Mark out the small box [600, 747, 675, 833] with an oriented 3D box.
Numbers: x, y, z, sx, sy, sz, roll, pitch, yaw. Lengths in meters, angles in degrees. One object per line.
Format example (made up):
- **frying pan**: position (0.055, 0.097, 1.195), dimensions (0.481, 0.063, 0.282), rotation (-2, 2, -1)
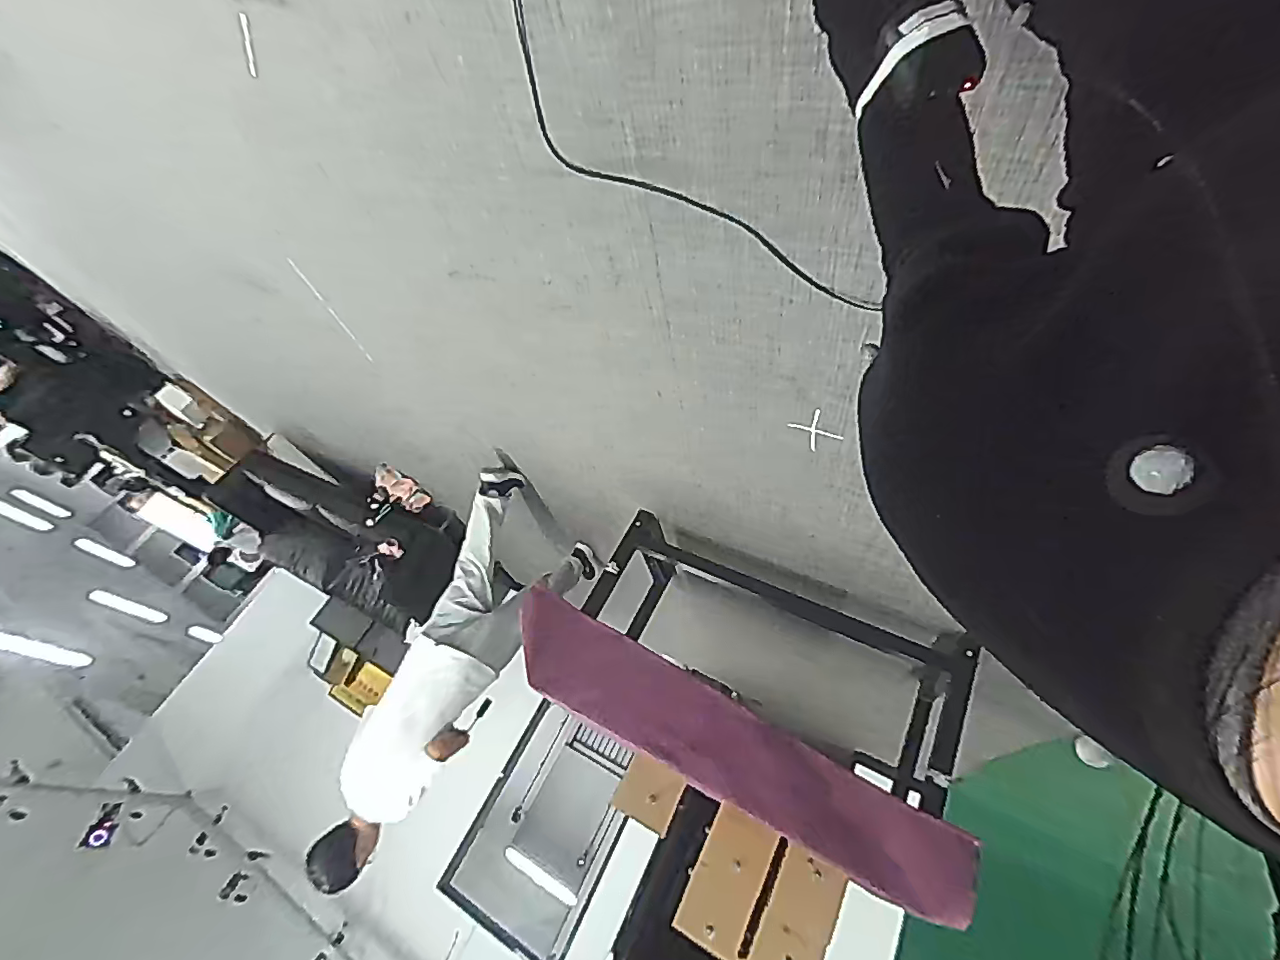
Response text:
- **small box**: position (-0.002, 0.938, 1.646), dimensions (0.179, 0.176, 0.168), rotation (22, 153, 15)
